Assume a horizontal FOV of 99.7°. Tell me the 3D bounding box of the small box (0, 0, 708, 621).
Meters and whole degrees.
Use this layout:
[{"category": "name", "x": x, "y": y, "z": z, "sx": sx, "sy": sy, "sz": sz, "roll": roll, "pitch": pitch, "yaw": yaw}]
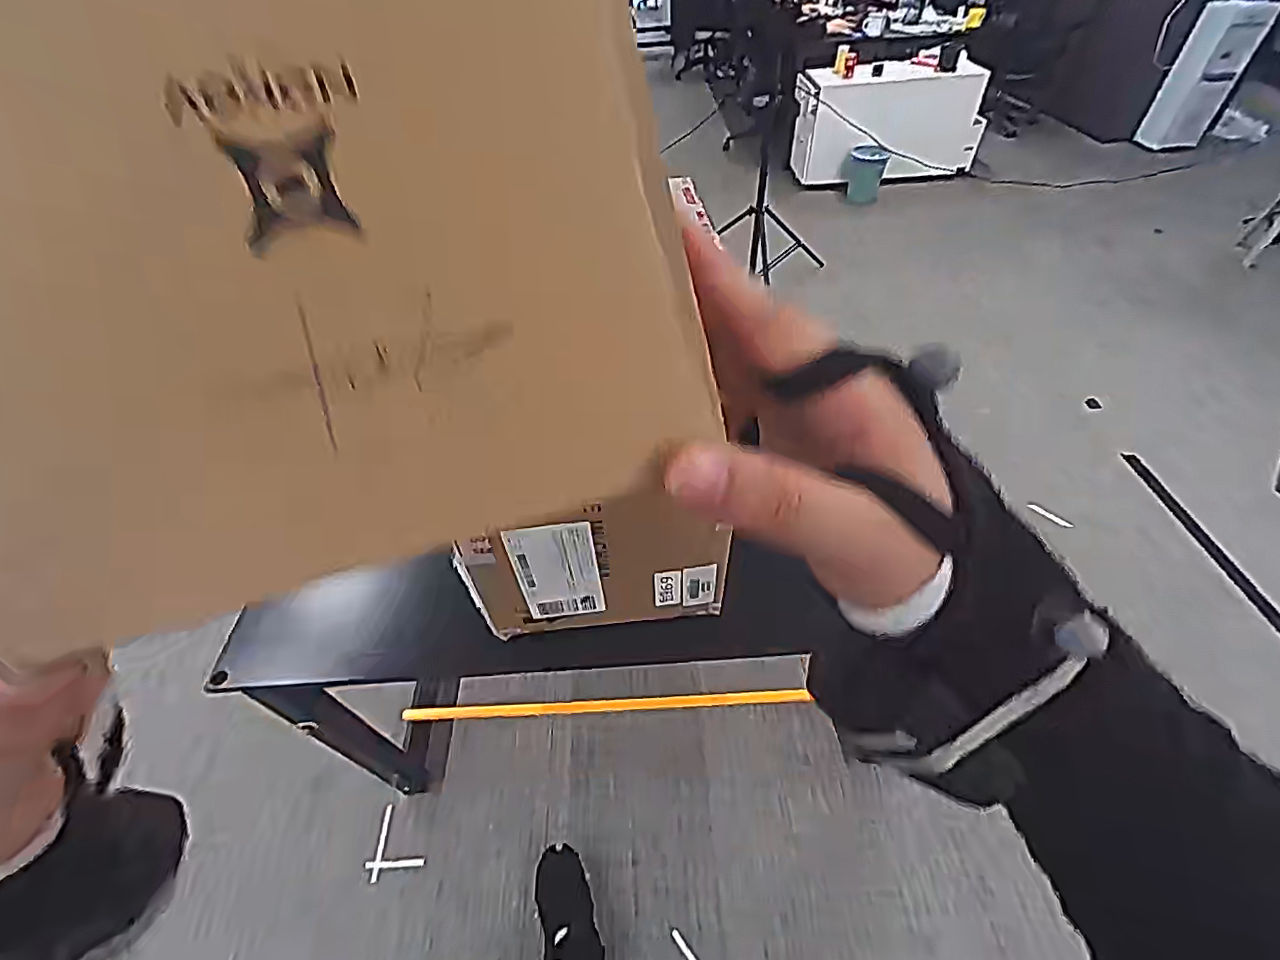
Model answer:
[{"category": "small box", "x": -0.097, "y": -0.079, "z": 0.194, "sx": 0.168, "sy": 0.179, "sz": 0.176, "roll": -16, "pitch": 9, "yaw": -11}]
